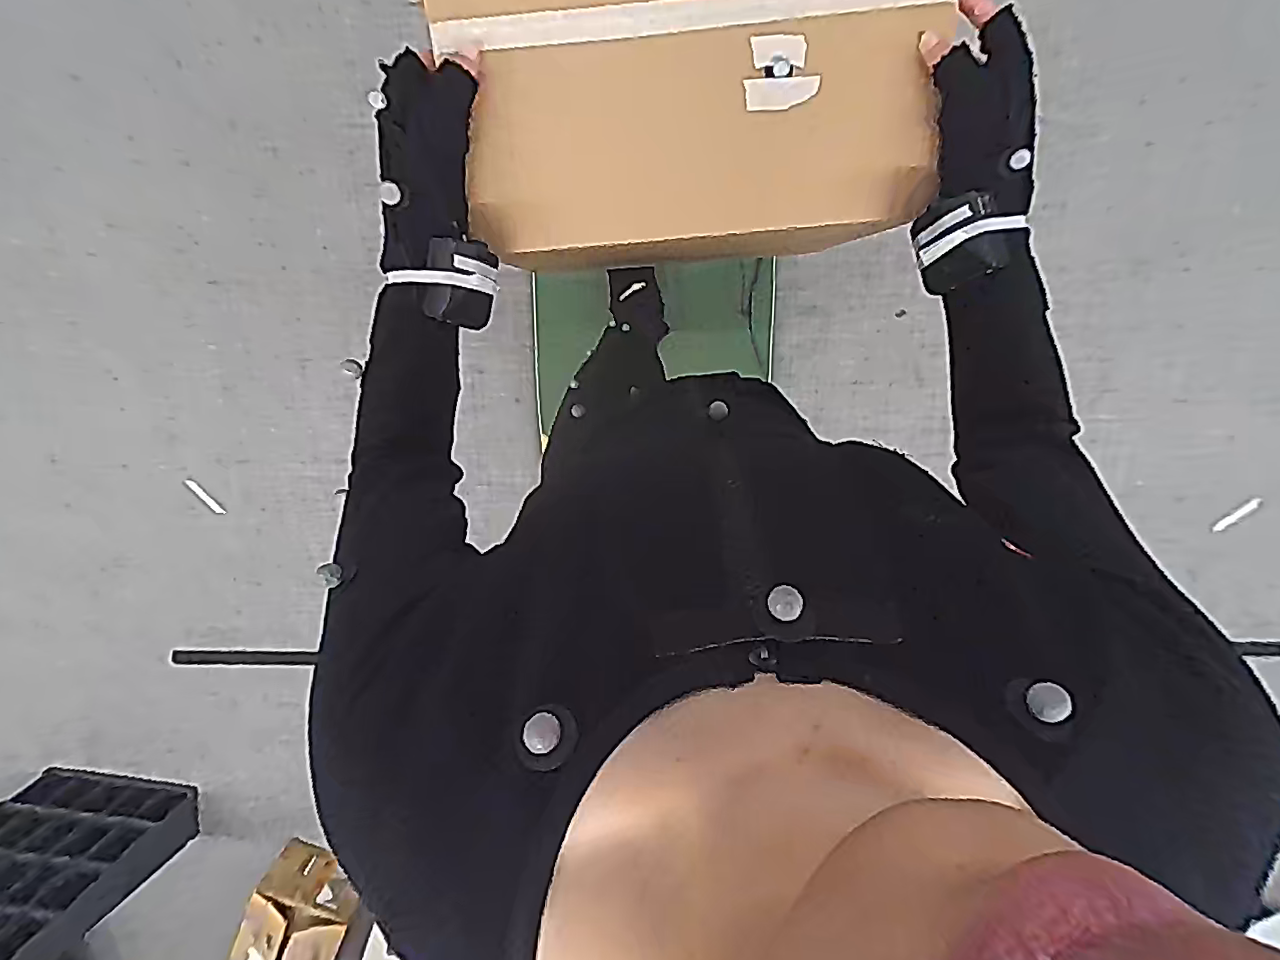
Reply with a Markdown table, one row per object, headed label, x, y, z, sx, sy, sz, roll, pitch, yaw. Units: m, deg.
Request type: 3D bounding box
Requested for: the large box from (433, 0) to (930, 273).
| label | x | y | z | sx | sy | sz | roll | pitch | yaw |
| --- | --- | --- | --- | --- | --- | --- | --- | --- | --- |
| large box | 0.031 | -0.417 | 0.577 | 0.408 | 0.320 | 0.320 | -5 | 108 | 1 |
